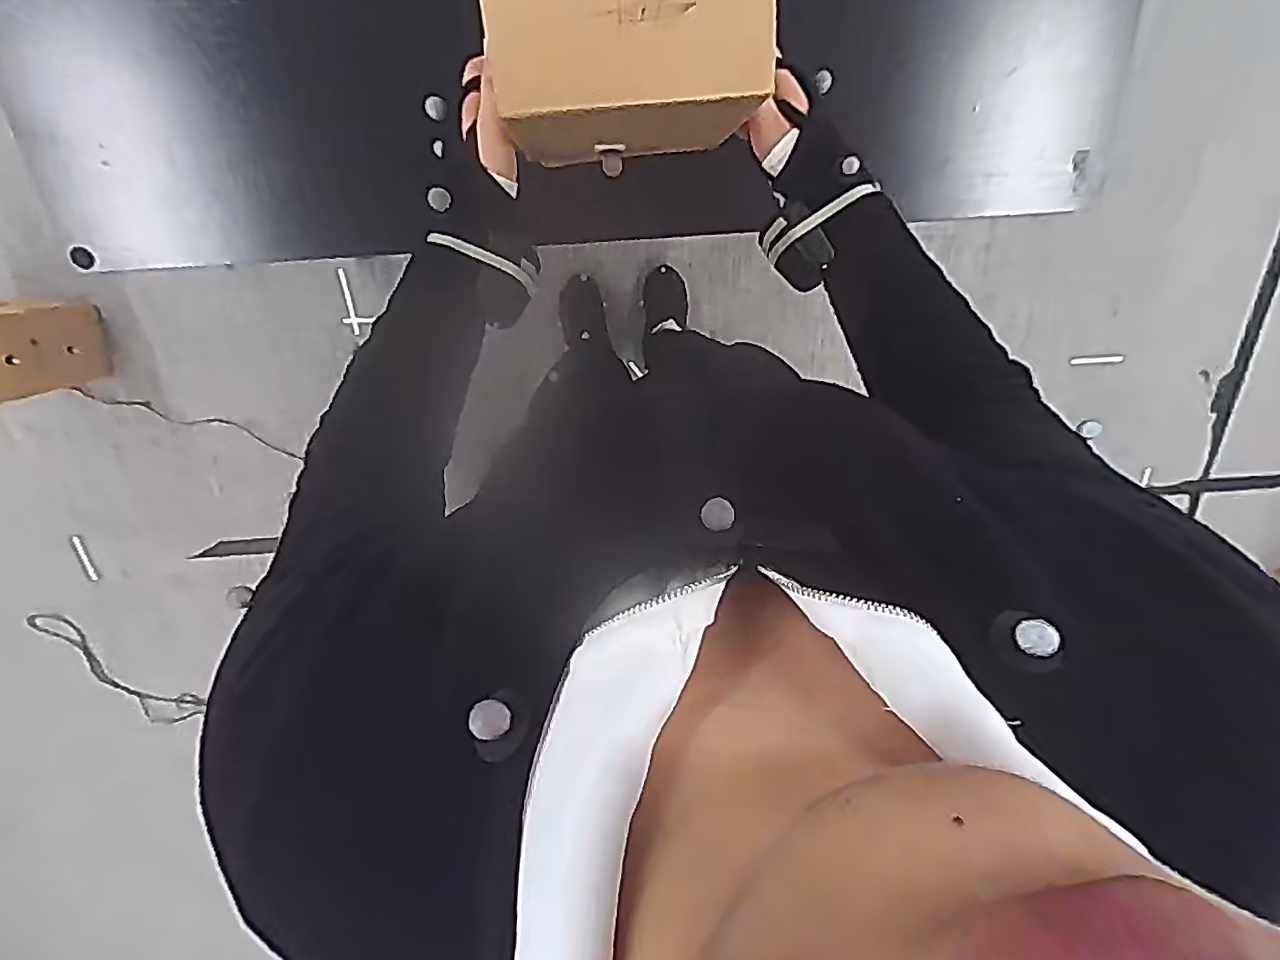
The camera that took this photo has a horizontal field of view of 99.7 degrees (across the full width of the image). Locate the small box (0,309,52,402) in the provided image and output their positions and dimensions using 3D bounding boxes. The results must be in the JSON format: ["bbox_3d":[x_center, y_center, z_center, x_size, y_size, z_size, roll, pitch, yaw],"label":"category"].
[{"bbox_3d":[-1.333,-0.247,1.065,0.179,0.176,0.168,1,111,-5],"label":"small box"}]

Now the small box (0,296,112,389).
[{"bbox_3d":[-1.357,-0.313,1.214,0.168,0.176,0.179,4,112,-6],"label":"small box"}]

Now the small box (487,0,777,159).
[{"bbox_3d":[-0.013,-0.334,0.361,0.168,0.176,0.179,-6,113,-1],"label":"small box"}]
